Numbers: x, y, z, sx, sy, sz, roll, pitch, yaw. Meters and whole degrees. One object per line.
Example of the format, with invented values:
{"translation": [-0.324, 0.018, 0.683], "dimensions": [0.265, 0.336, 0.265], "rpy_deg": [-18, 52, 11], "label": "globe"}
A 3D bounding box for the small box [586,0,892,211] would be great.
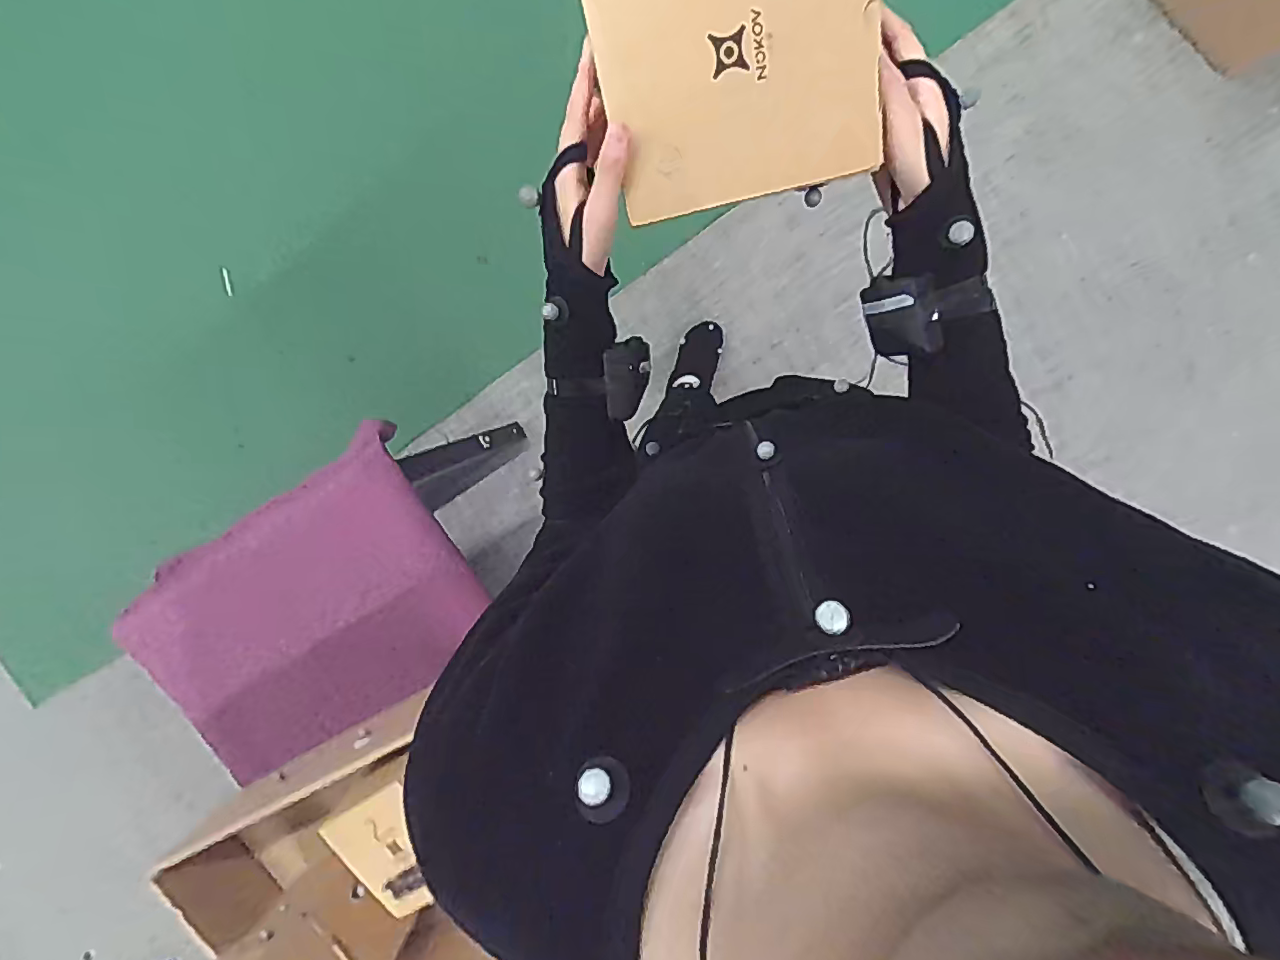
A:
{"translation": [0.062, -0.303, 0.395], "dimensions": [0.179, 0.176, 0.168], "rpy_deg": [-11, 115, 5], "label": "small box"}

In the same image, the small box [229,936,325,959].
{"translation": [-0.516, 0.754, 0.712], "dimensions": [0.168, 0.176, 0.179], "rpy_deg": [-33, 96, 12], "label": "small box"}
